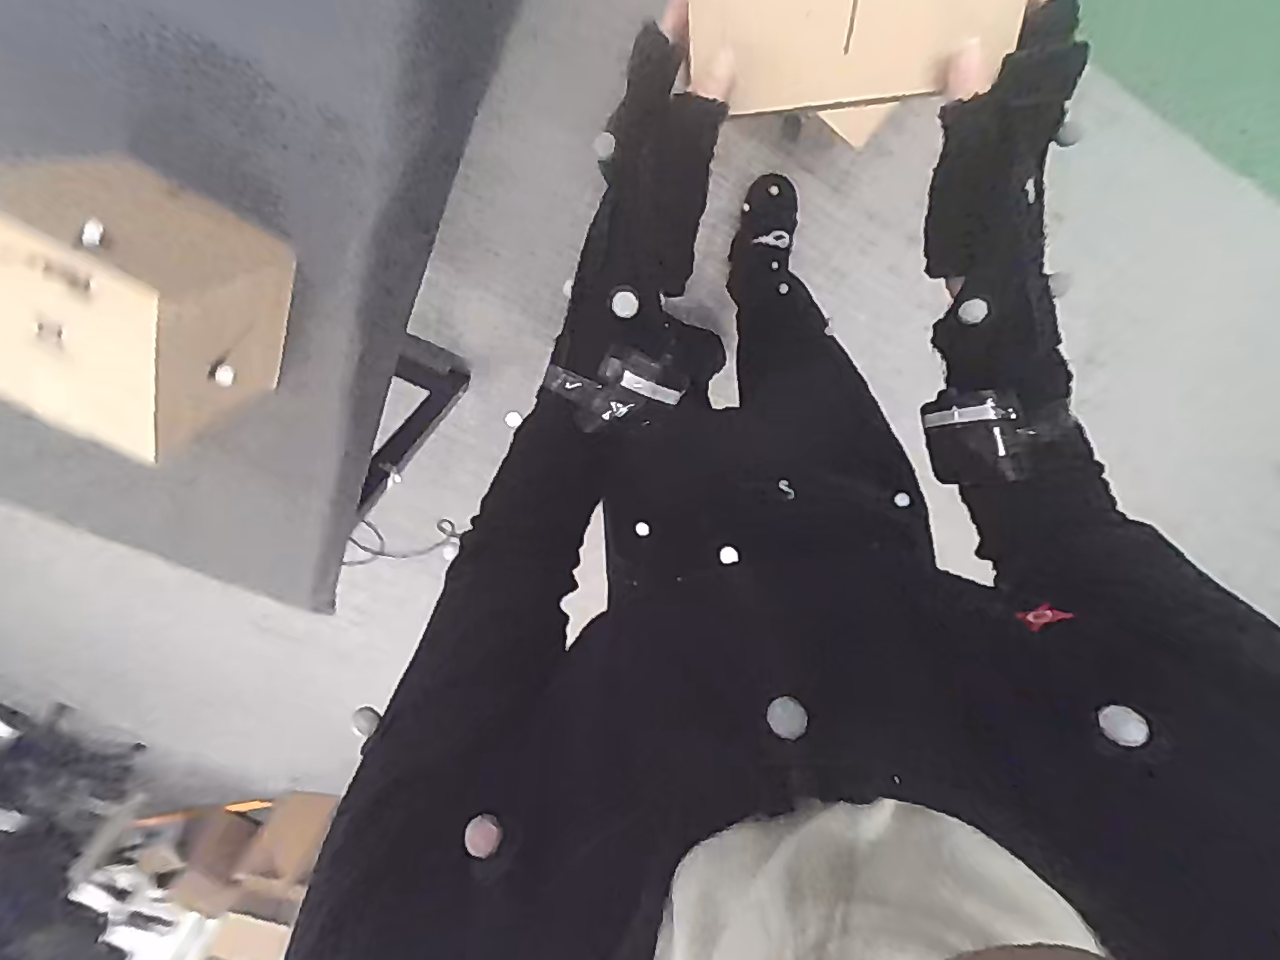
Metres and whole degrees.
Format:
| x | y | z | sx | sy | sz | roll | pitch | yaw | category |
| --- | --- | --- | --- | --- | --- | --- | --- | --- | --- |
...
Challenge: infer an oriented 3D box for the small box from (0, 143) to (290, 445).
| x | y | z | sx | sy | sz | roll | pitch | yaw | category |
| --- | --- | --- | --- | --- | --- | --- | --- | --- | --- |
| -0.455 | -0.171 | 0.489 | 0.168 | 0.176 | 0.179 | 29 | 123 | -12 | small box |
